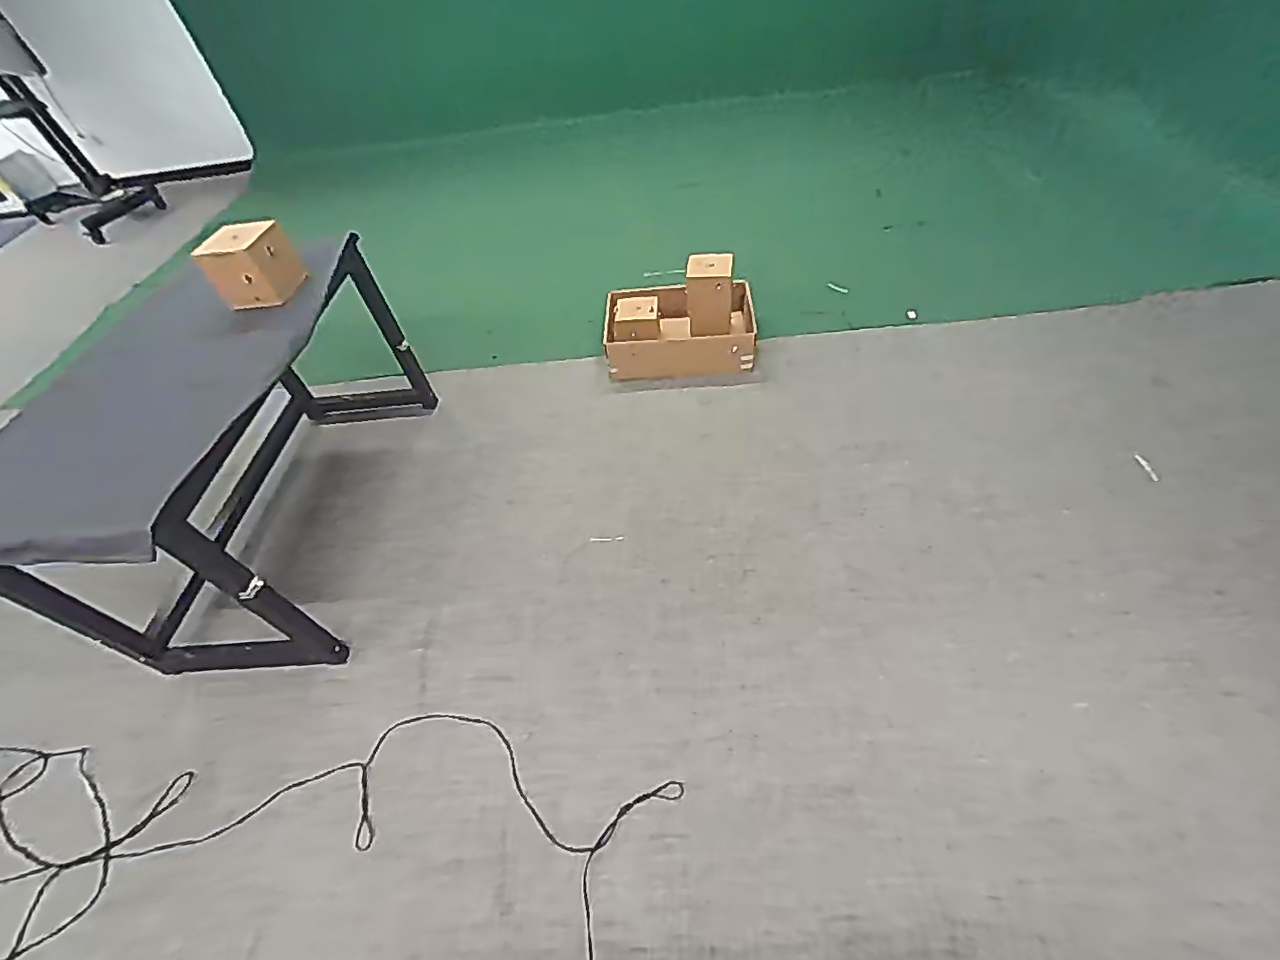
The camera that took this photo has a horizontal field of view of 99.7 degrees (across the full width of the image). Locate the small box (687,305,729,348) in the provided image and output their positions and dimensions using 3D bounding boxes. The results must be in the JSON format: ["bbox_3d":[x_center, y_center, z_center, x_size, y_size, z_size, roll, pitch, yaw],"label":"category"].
[{"bbox_3d":[0.291,-0.683,2.301,0.168,0.176,0.179,2,52,10],"label":"small box"}]

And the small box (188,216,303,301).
[{"bbox_3d":[-1.103,-0.621,1.533,0.168,0.176,0.179,-1,49,6],"label":"small box"}]

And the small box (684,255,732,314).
[{"bbox_3d":[0.274,-0.783,2.171,0.179,0.176,0.168,3,51,10],"label":"small box"}]
